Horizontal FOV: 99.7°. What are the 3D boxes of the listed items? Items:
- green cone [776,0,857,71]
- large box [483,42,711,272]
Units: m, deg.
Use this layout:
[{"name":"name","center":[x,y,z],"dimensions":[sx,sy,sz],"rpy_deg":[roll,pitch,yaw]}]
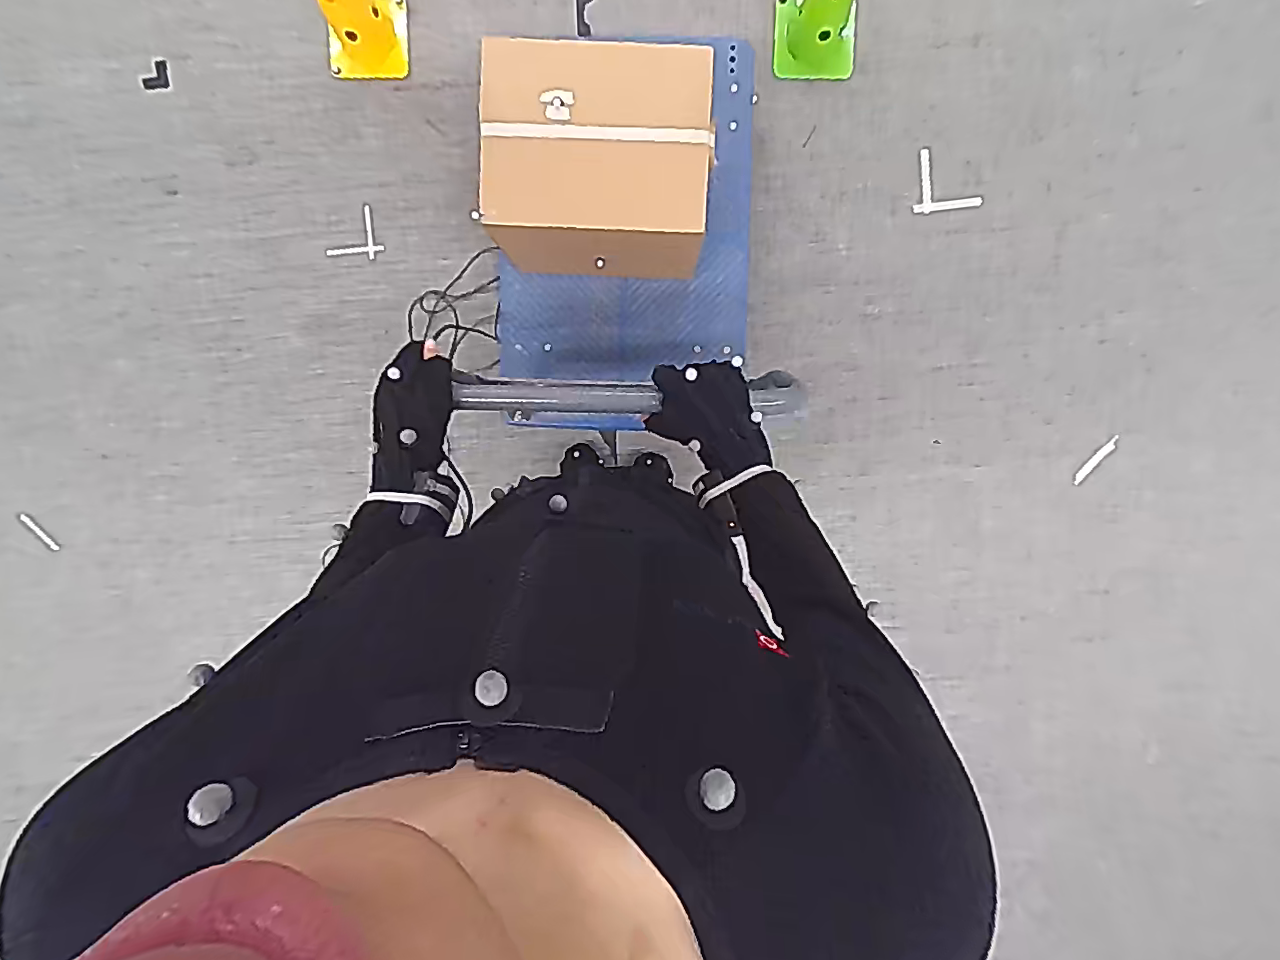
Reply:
[{"name":"green cone","center":[0.443,-1.120,1.188],"dimensions":[0.202,0.368,0.200],"rpy_deg":[1,95,0]},{"name":"large box","center":[-0.072,-0.621,1.097],"dimensions":[0.408,0.320,0.320],"rpy_deg":[3,95,2]}]
